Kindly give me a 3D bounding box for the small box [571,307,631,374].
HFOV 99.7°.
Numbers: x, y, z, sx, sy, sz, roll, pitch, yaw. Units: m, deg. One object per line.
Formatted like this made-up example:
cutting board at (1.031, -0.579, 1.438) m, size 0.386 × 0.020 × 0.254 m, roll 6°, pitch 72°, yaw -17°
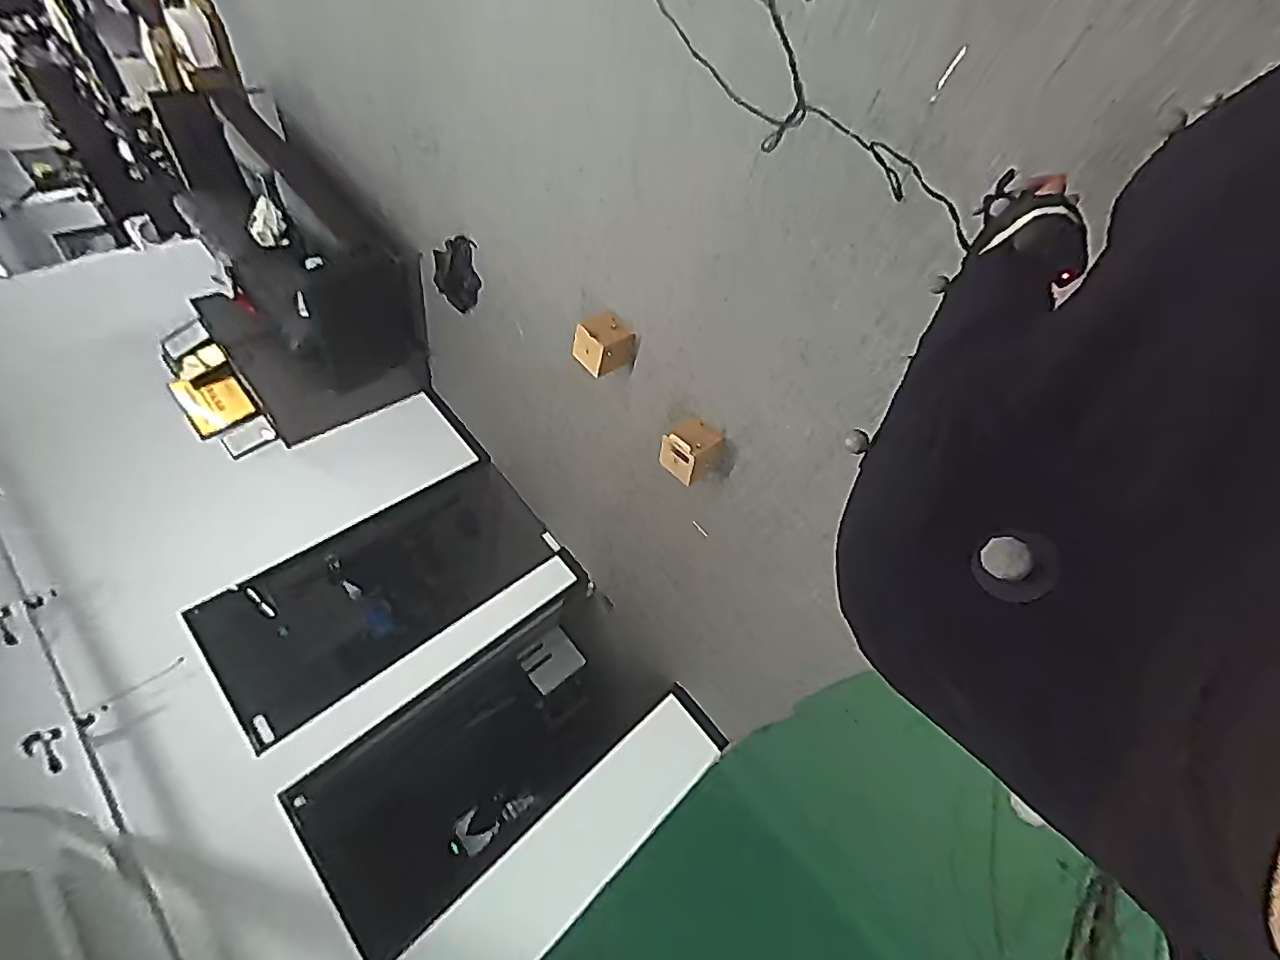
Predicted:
small box at (-0.159, -0.569, 2.197) m, size 0.168 × 0.176 × 0.179 m, roll 47°, pitch 147°, yaw 18°
